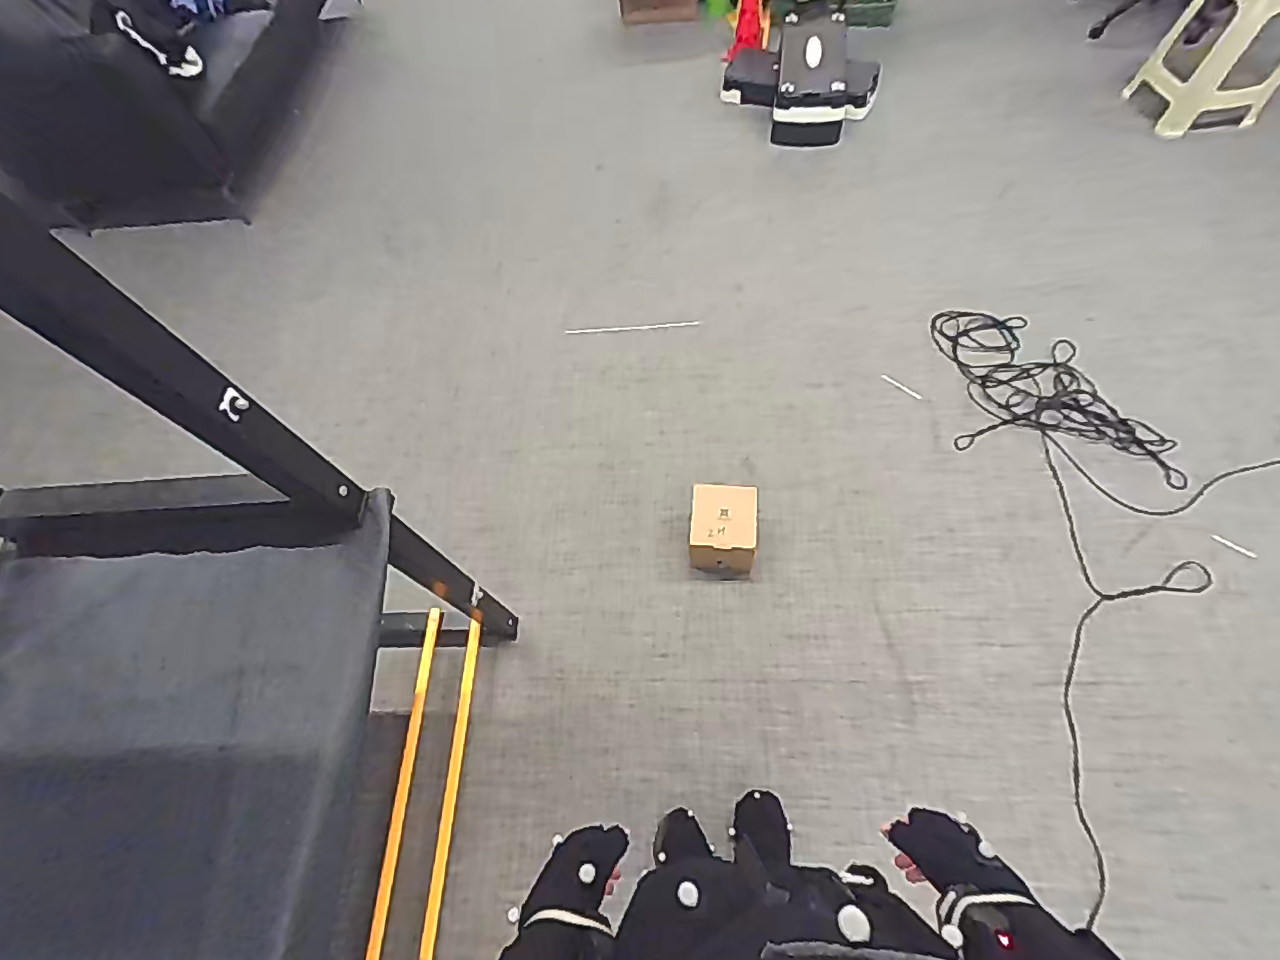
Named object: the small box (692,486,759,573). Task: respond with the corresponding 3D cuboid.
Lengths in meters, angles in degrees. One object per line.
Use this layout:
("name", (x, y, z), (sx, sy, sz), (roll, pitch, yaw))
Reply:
("small box", (0.228, 0.135, 1.451), (0.168, 0.176, 0.179), (3, 63, 9))
